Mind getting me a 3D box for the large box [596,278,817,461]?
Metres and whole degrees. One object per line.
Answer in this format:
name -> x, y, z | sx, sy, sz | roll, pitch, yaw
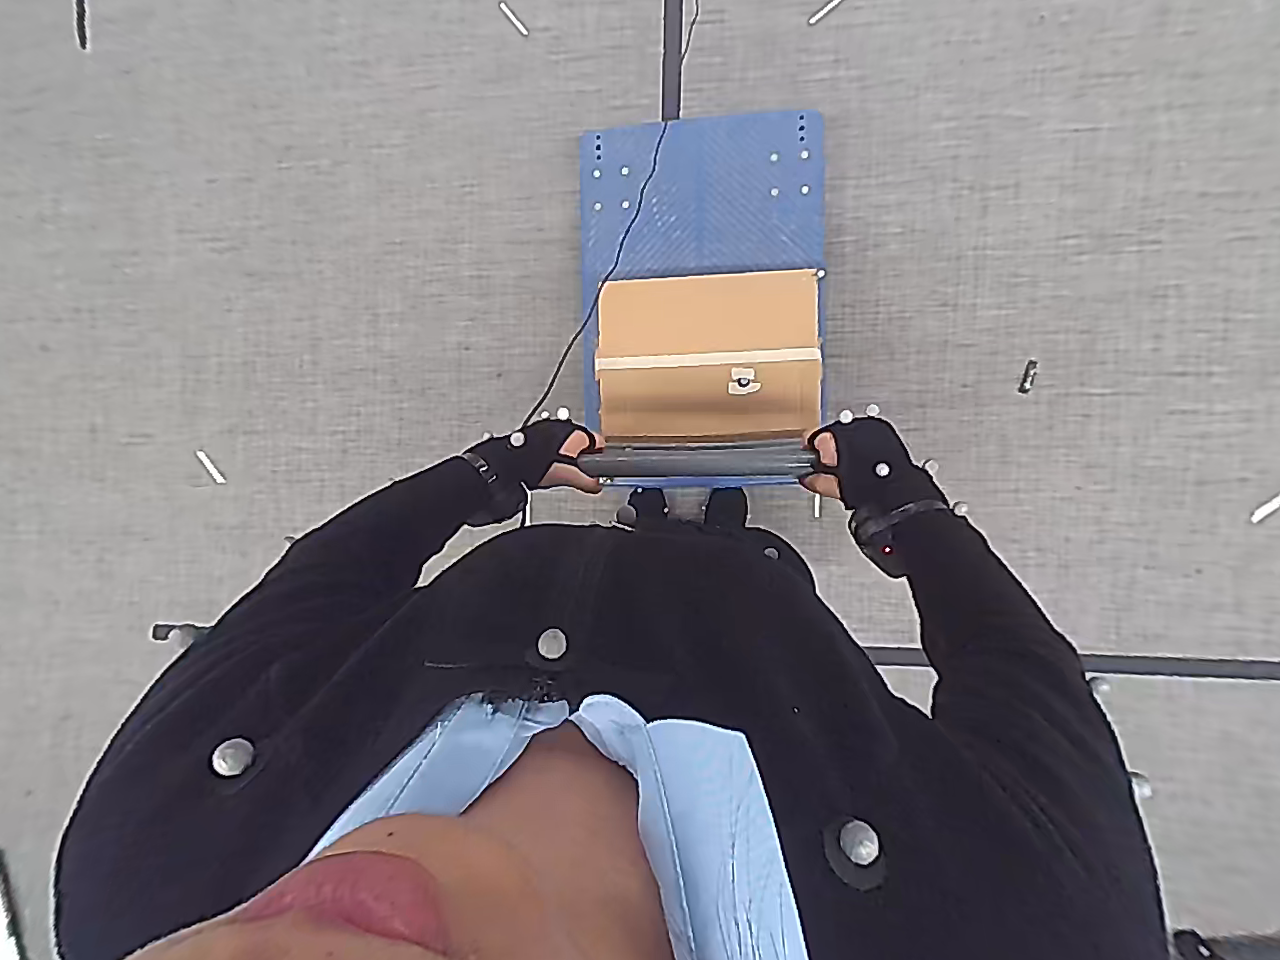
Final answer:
large box -> 0.133, -0.206, 1.146 | 0.408, 0.320, 0.320 | -1, 91, 6
